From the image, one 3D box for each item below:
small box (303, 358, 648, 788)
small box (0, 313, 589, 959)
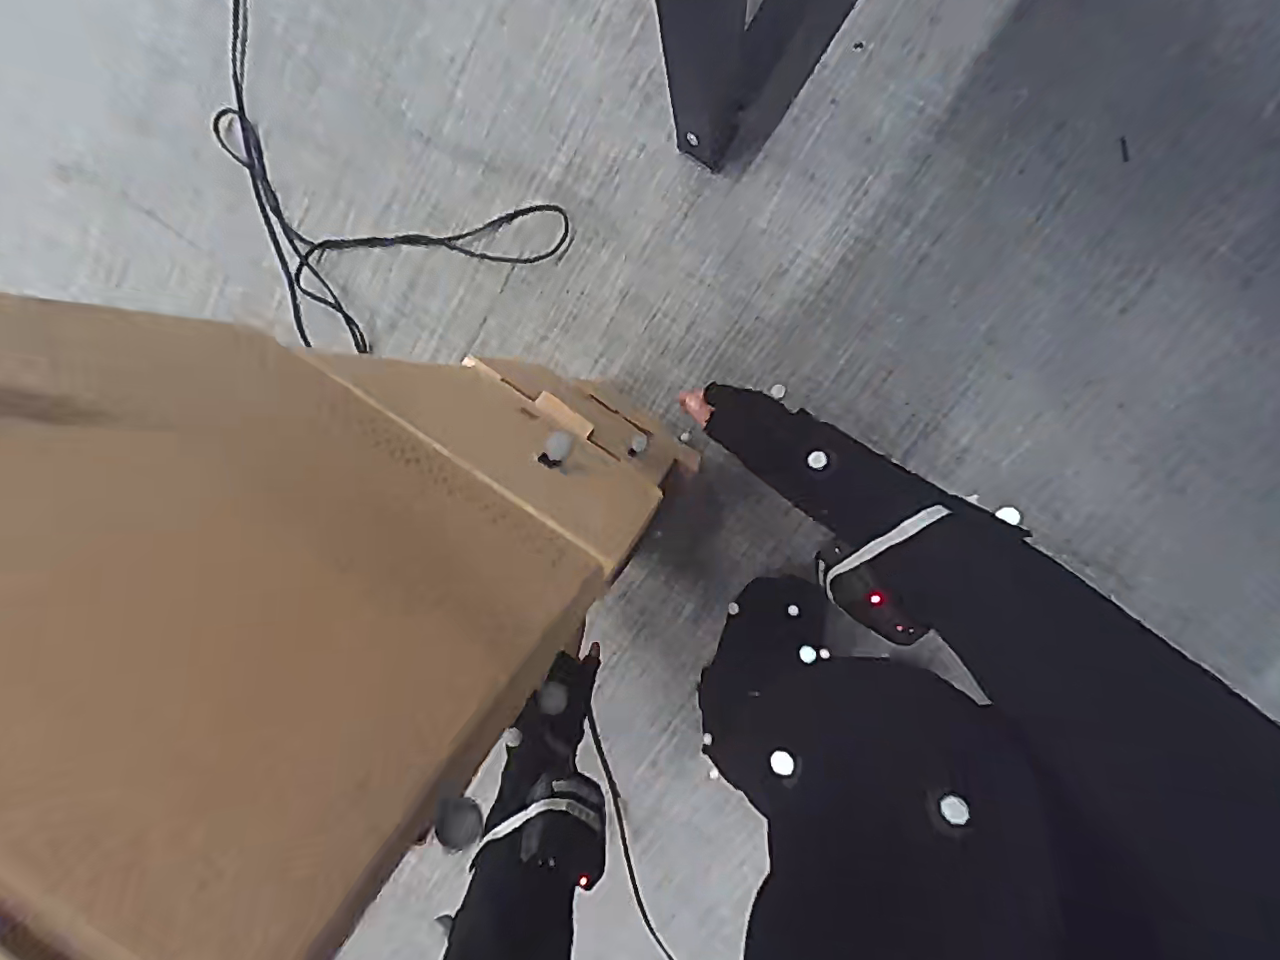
[{"bbox_3d":[-0.108,0.048,0.322,0.168,0.176,0.179,35,104,2],"label":"small box"},{"bbox_3d":[-0.142,0.066,0.161,0.179,0.176,0.168,35,104,2],"label":"small box"}]
